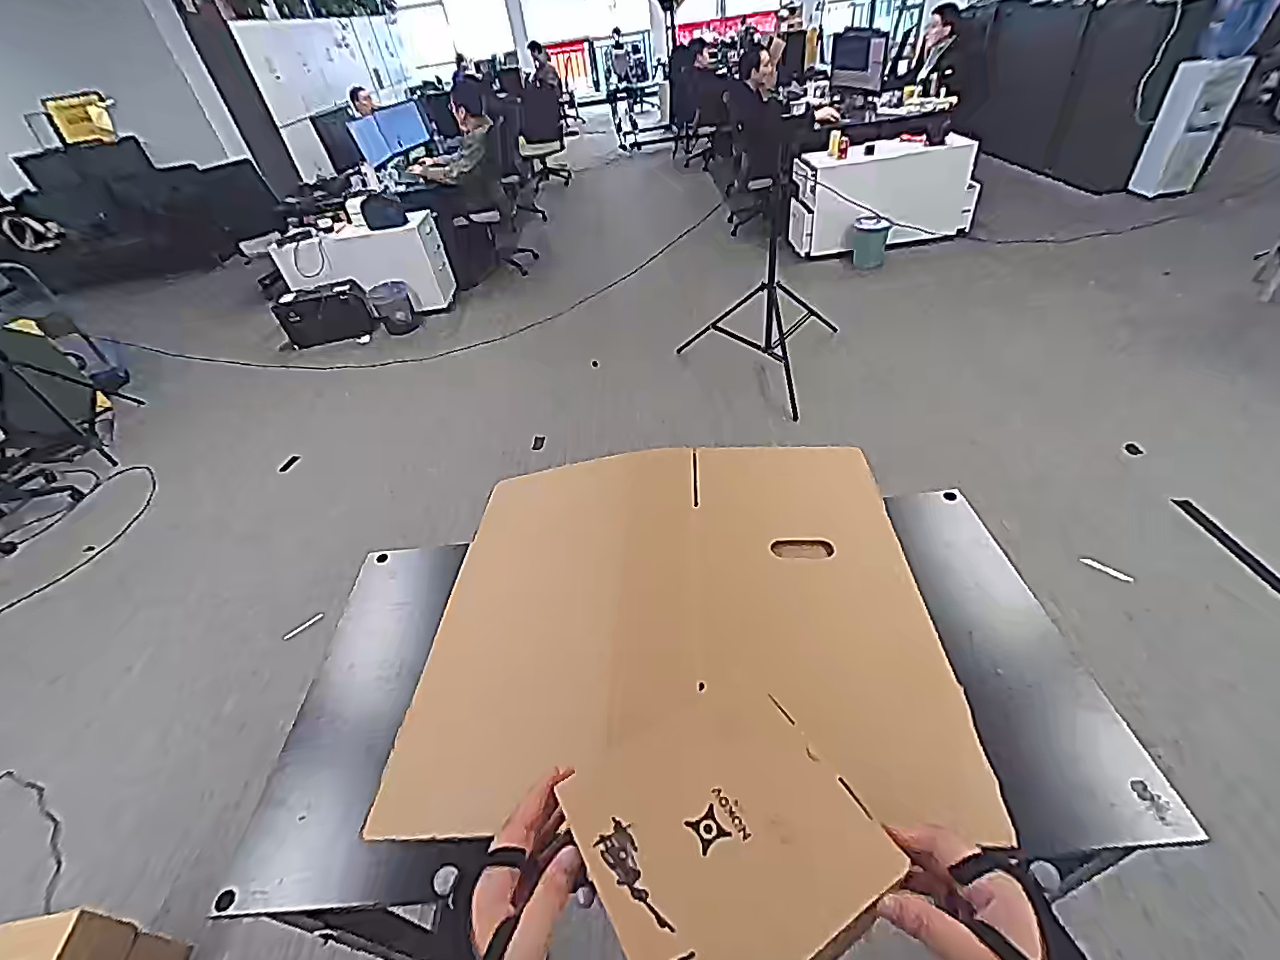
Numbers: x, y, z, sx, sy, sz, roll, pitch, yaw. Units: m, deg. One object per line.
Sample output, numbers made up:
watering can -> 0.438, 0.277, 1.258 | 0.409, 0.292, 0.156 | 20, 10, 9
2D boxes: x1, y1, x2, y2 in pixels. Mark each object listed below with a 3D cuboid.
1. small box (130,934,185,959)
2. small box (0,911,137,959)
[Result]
small box -> -1.131, 1.106, 1.152 | 0.168, 0.176, 0.179 | -9, 41, 0
small box -> -1.151, 0.980, 1.050 | 0.168, 0.176, 0.179 | -10, 40, -2
